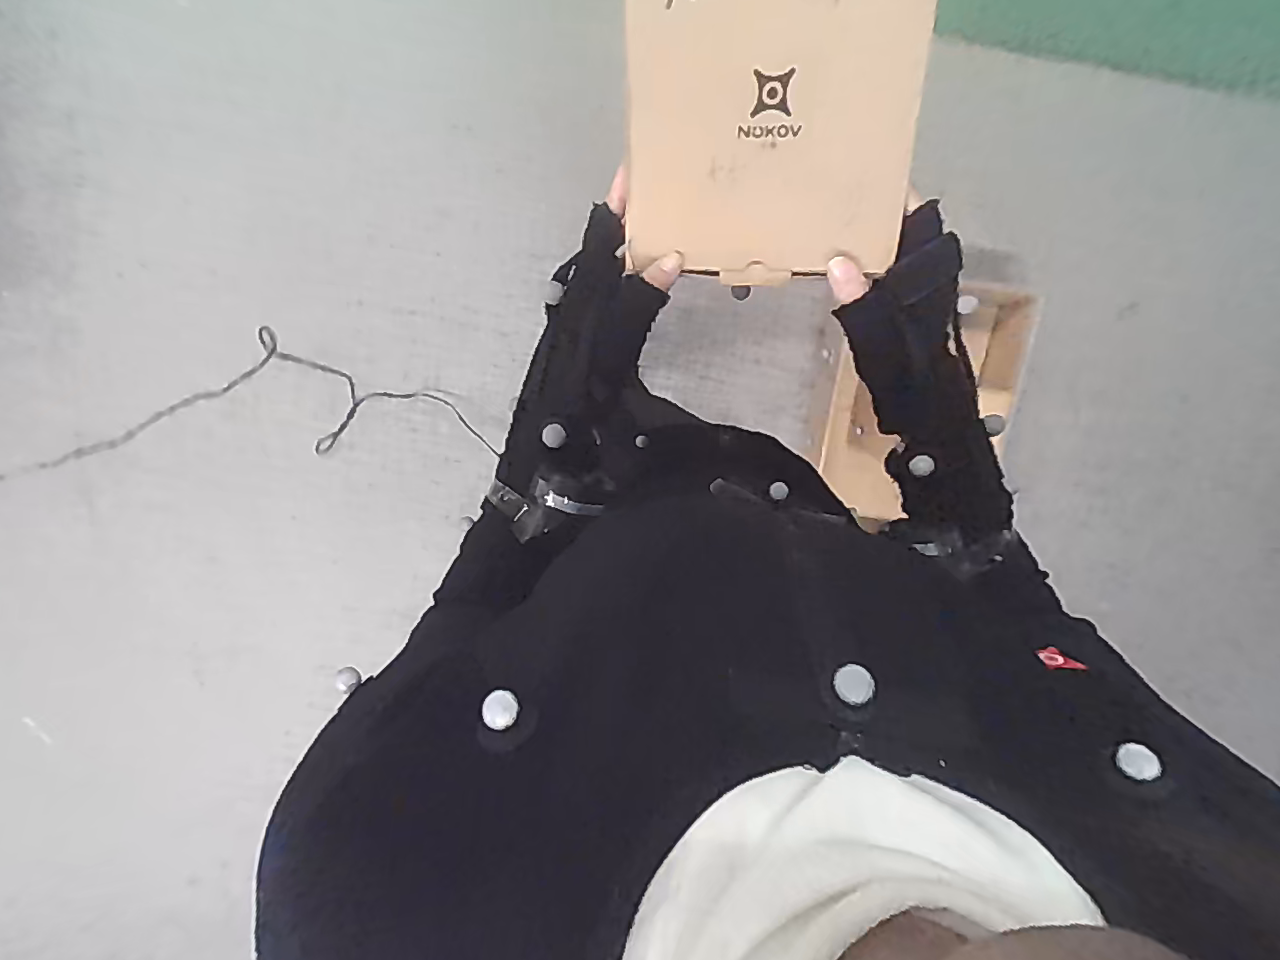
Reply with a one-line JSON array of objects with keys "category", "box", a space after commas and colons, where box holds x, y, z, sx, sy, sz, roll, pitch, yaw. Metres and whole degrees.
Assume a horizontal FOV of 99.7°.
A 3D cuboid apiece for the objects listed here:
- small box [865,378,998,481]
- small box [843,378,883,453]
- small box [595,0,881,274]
[{"category": "small box", "box": [0.590, -0.111, 1.122, 0.168, 0.176, 0.179, 8, 103, -2]}, {"category": "small box", "box": [0.598, -0.146, 1.265, 0.179, 0.176, 0.168, 7, 104, -2]}, {"category": "small box", "box": [0.066, -0.252, 0.404, 0.168, 0.176, 0.179, 0, 111, 7]}]
